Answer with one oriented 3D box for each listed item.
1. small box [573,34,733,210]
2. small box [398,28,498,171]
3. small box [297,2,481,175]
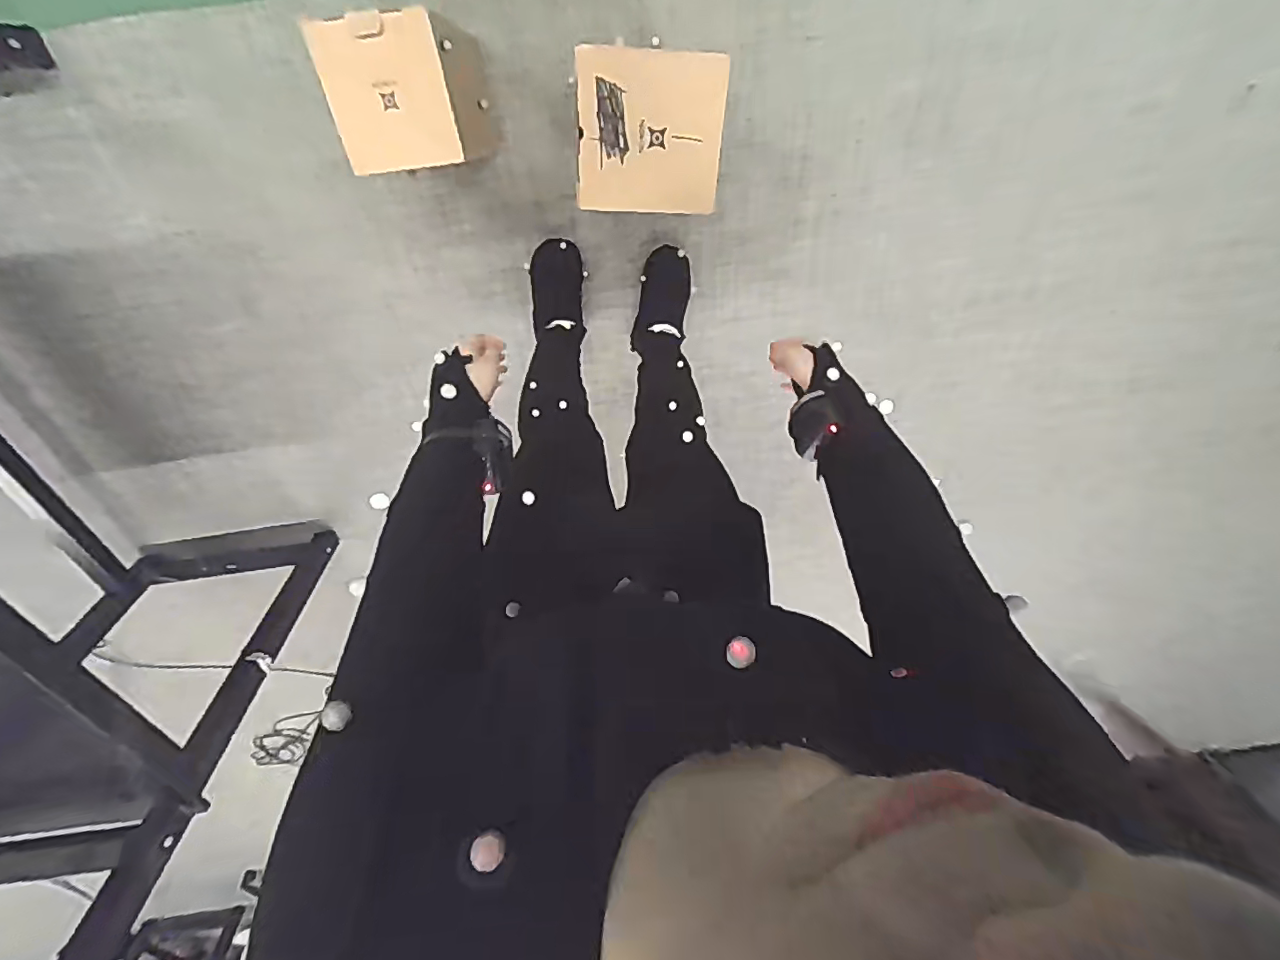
[{"bbox_3d":[0.007,-0.454,0.692,0.179,0.176,0.168,-1,126,-5],"label":"small box"},{"bbox_3d":[-0.354,-0.652,0.925,0.168,0.176,0.179,-9,127,2],"label":"small box"},{"bbox_3d":[-0.344,-0.563,0.788,0.168,0.176,0.179,-8,125,1],"label":"small box"}]
